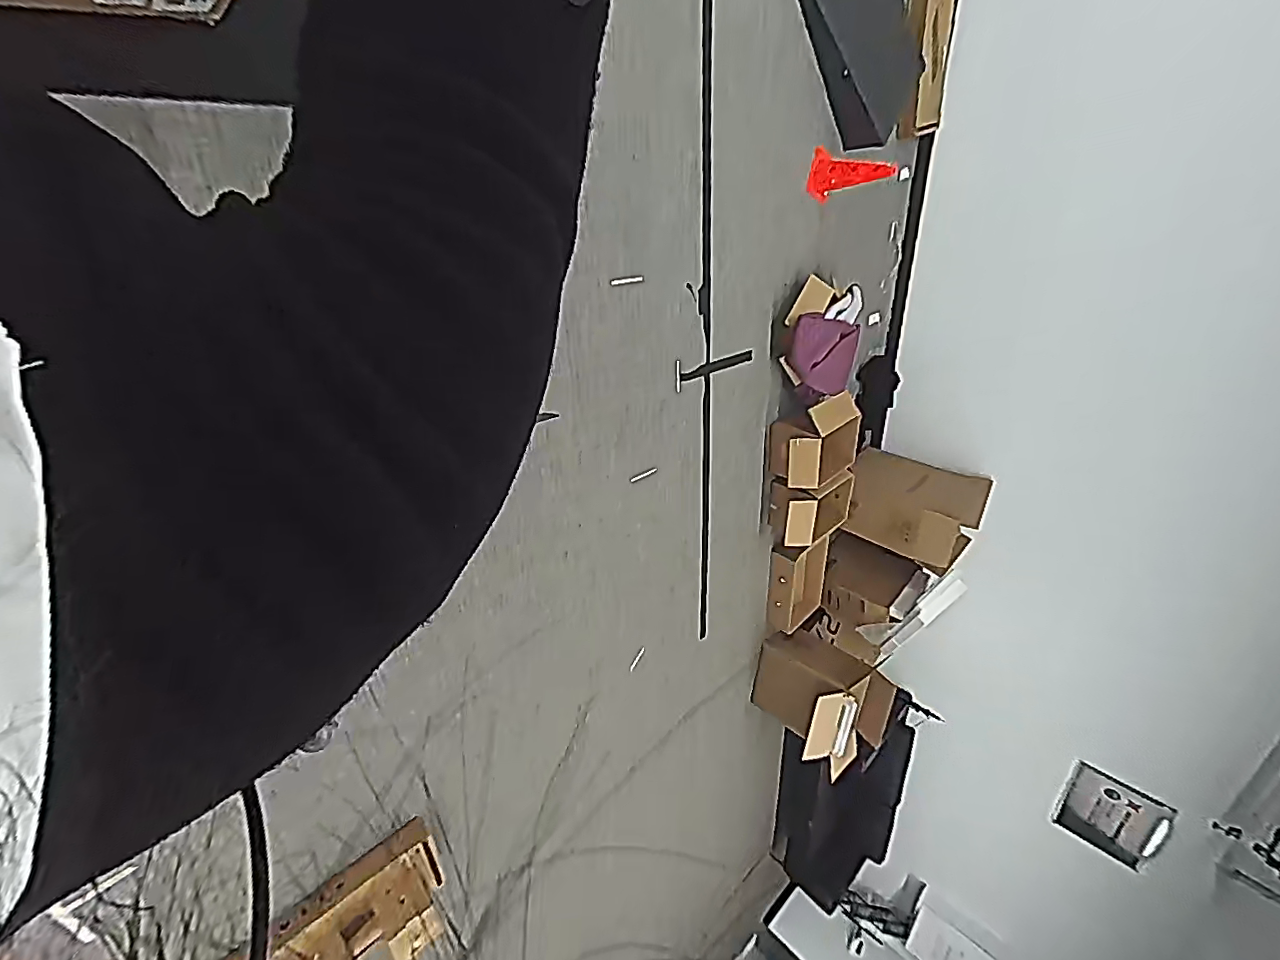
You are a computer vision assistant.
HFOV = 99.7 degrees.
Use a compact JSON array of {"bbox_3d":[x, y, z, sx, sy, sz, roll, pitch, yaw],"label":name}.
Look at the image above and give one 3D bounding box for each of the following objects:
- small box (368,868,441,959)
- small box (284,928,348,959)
[{"bbox_3d":[-0.822,1.502,1.879,0.168,0.176,0.179,-24,123,-37],"label":"small box"},{"bbox_3d":[-1.017,1.591,1.716,0.168,0.176,0.179,-22,122,-40],"label":"small box"}]
